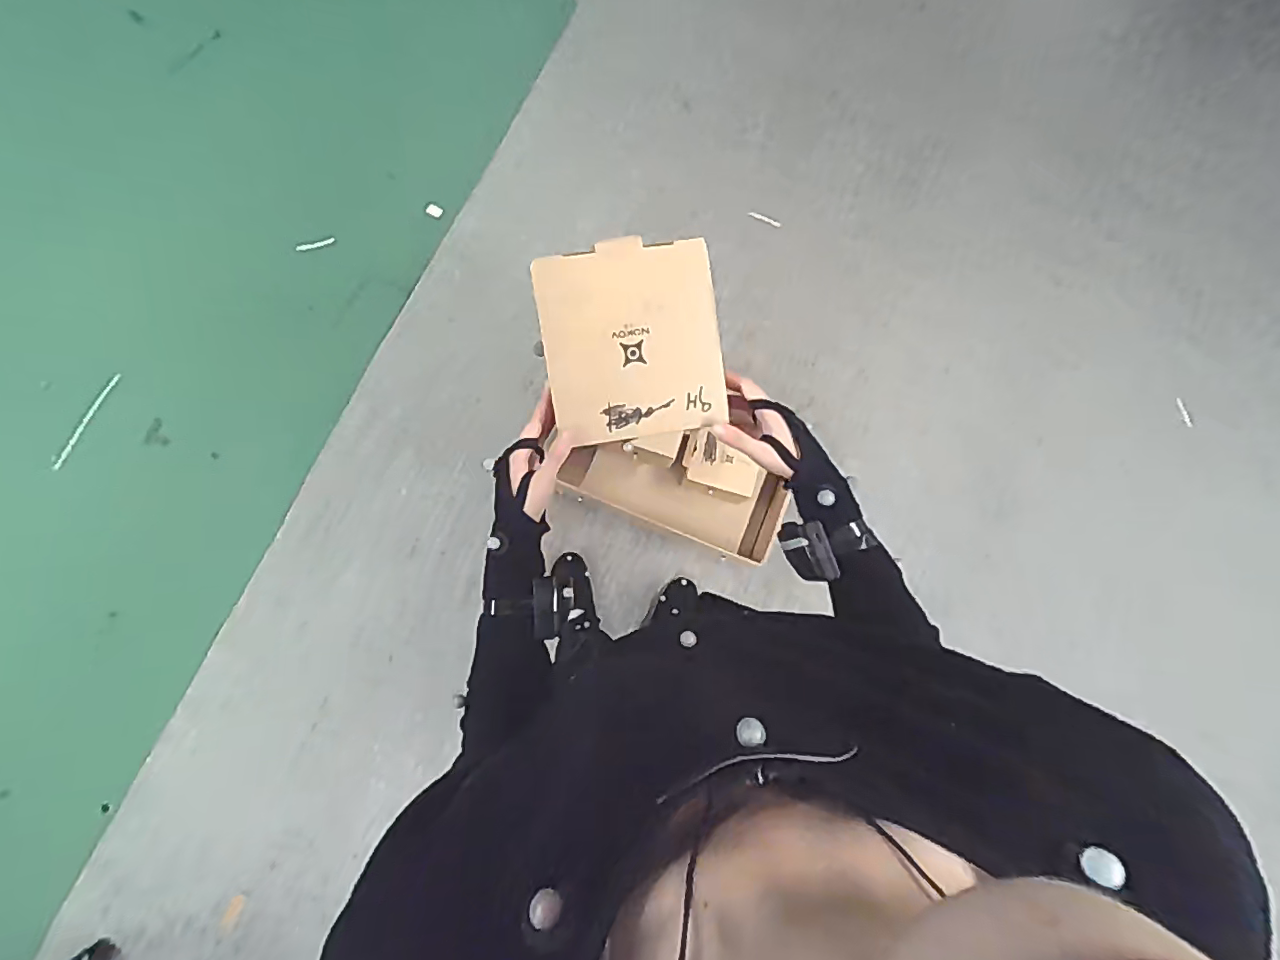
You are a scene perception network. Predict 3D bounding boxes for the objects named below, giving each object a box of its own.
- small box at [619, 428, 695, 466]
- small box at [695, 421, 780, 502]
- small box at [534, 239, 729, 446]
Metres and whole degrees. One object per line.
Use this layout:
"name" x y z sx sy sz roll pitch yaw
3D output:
"small box" 0.051 -0.144 1.298 0.168 0.176 0.179 18 83 1
"small box" 0.252 -0.046 1.446 0.179 0.176 0.168 16 82 3
"small box" -0.013 -0.134 0.586 0.168 0.176 0.179 -10 96 -3
